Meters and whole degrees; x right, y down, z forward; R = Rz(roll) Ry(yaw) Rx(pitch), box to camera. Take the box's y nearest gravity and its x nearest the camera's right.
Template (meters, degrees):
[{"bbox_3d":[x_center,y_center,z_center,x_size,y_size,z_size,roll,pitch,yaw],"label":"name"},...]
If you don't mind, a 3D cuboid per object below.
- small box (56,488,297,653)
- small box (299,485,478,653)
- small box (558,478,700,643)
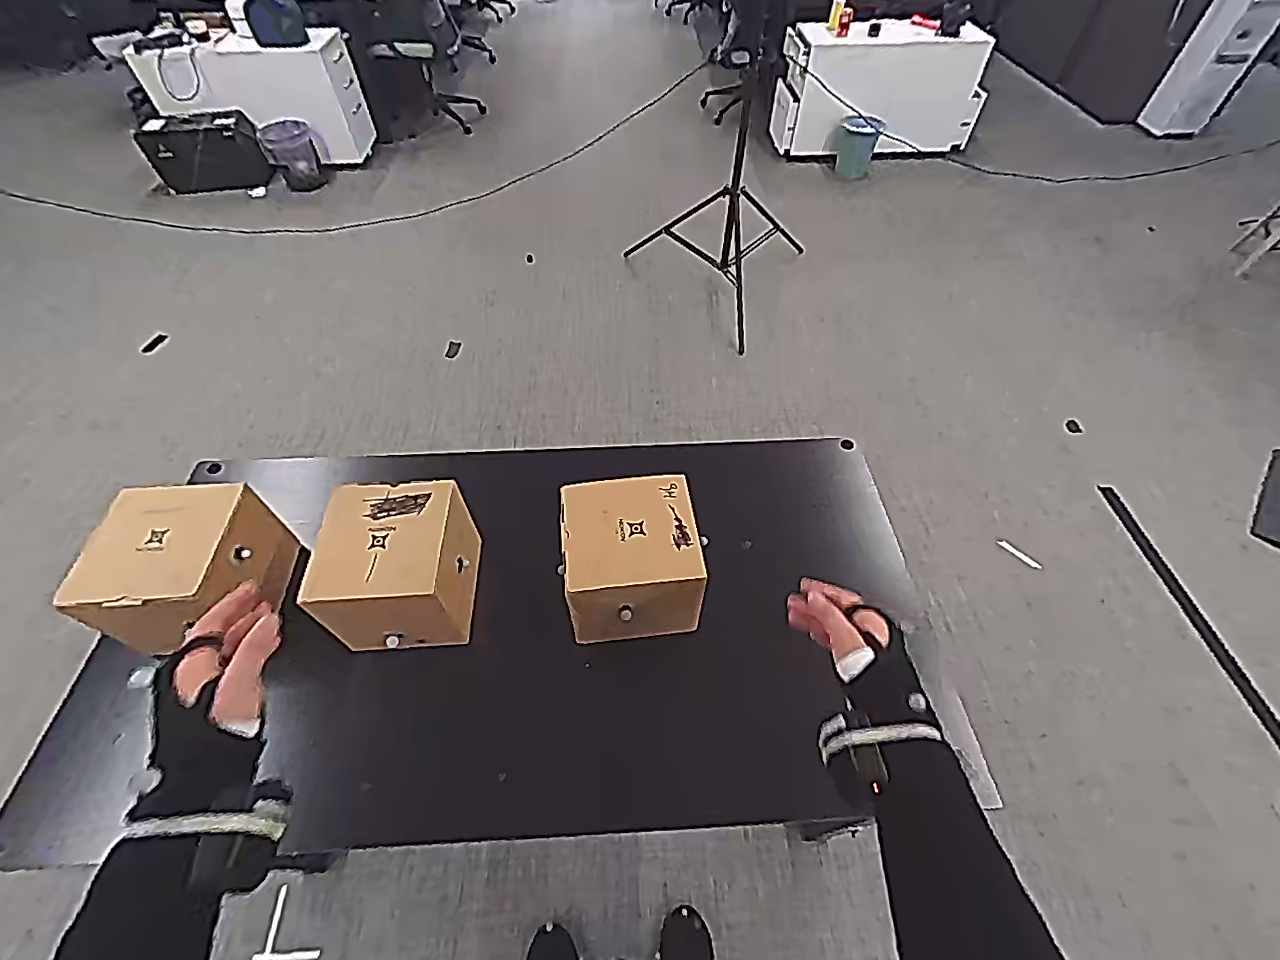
[{"bbox_3d":[-0.622,0.133,0.760,0.168,0.176,0.179,-3,52,-4],"label":"small box"},{"bbox_3d":[-0.335,0.127,0.764,0.168,0.176,0.179,-3,53,-2],"label":"small box"},{"bbox_3d":[-0.017,0.119,0.772,0.179,0.176,0.168,-6,53,-4],"label":"small box"}]
